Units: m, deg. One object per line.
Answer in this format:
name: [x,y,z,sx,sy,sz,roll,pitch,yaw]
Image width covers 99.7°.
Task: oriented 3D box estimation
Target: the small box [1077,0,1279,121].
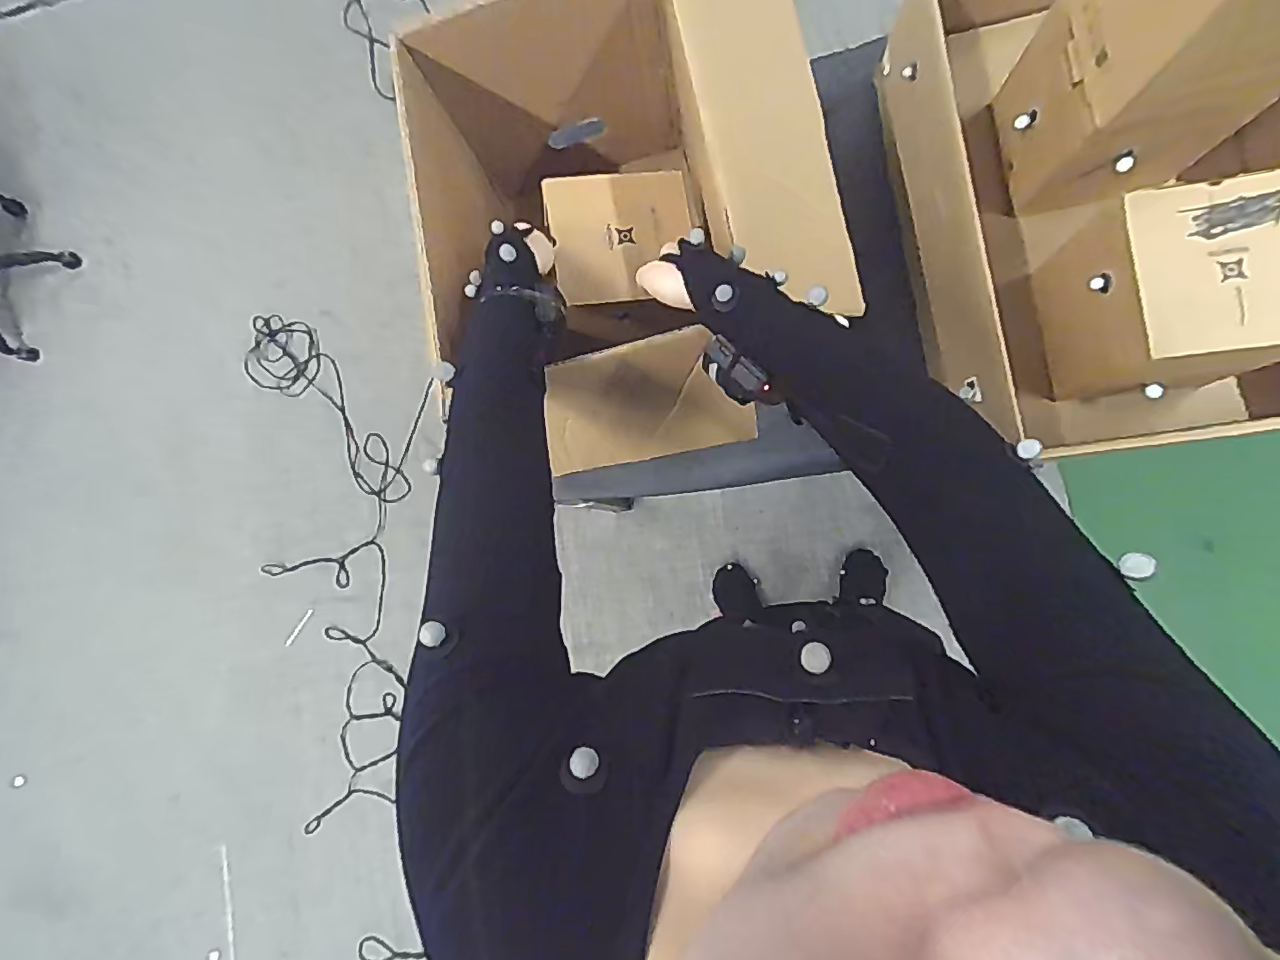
small box: [0.522,-0.454,0.465,0.179,0.176,0.168,-9,85,8]
